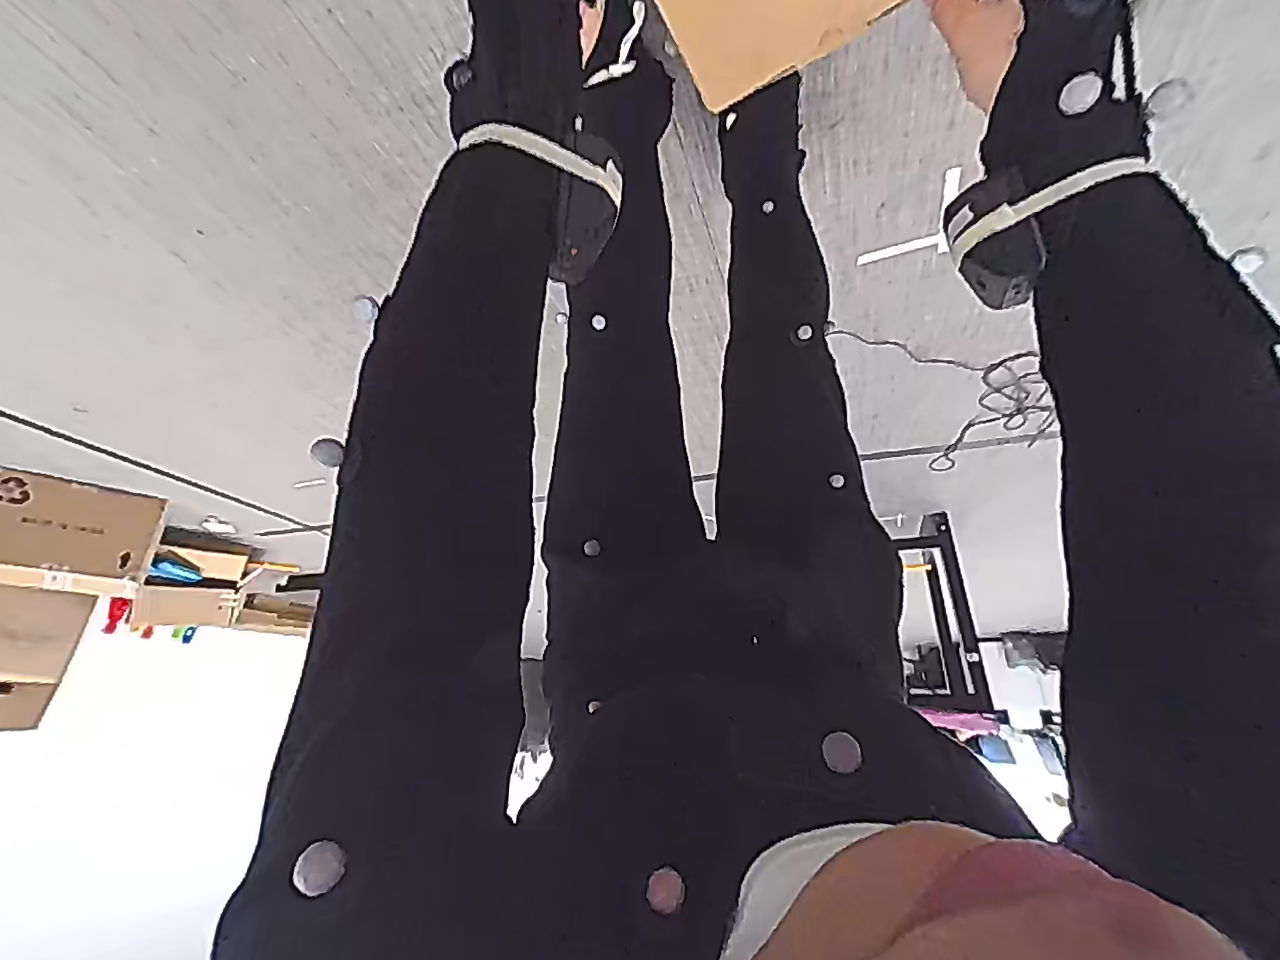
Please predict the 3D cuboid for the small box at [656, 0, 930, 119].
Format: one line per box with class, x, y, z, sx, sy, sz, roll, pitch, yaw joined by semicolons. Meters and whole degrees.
small box;0.079;-0.369;0.303;0.168;0.176;0.179;-12;153;32
